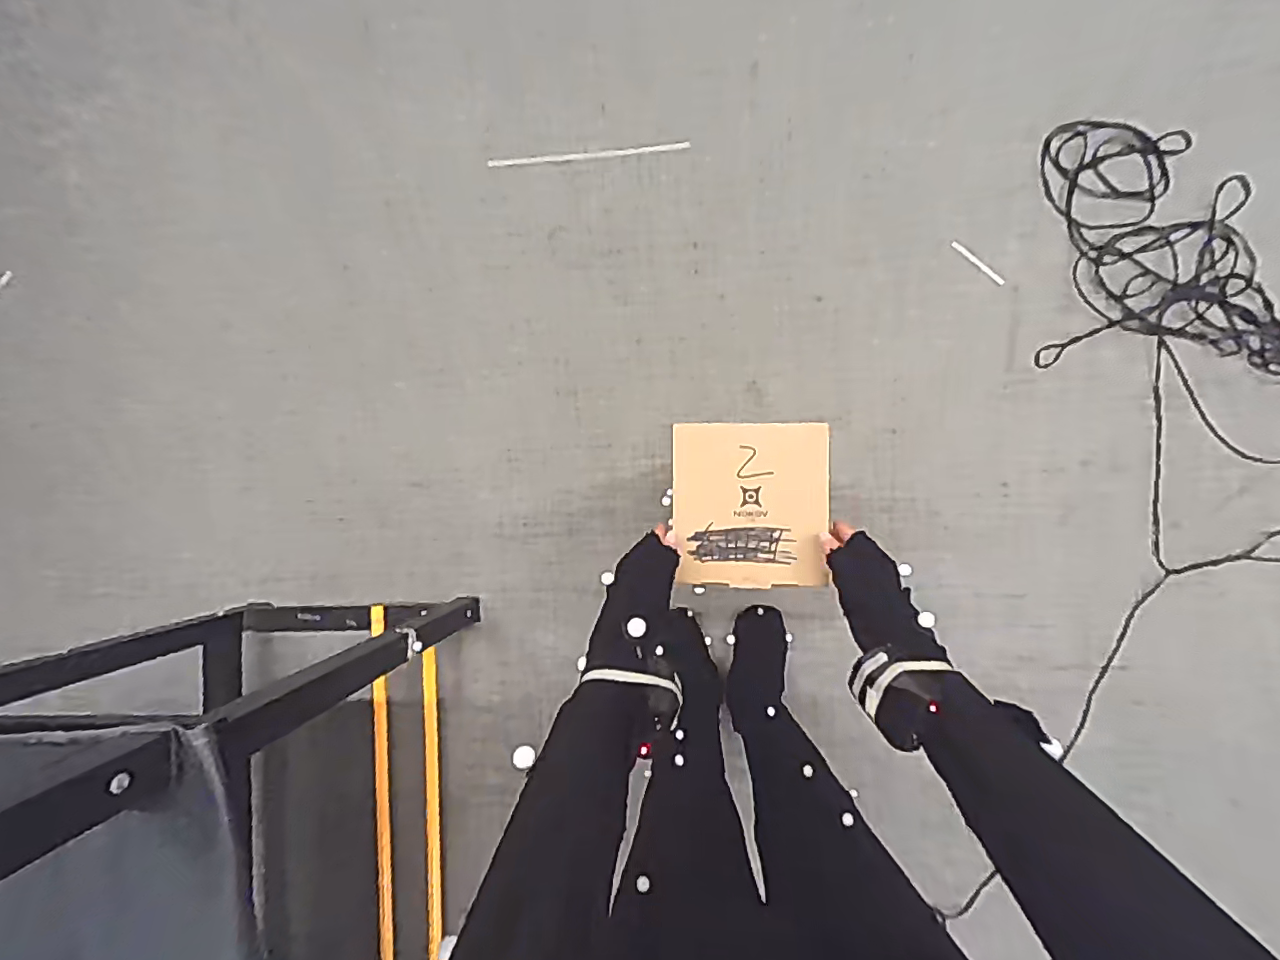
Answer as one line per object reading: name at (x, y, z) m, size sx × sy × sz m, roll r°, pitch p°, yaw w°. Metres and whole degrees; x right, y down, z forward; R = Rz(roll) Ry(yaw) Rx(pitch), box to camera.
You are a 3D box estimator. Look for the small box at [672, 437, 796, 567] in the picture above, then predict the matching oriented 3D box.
small box at (0.137, 0.030, 0.822) m, size 0.168 × 0.176 × 0.179 m, roll 1°, pitch 89°, yaw 5°
